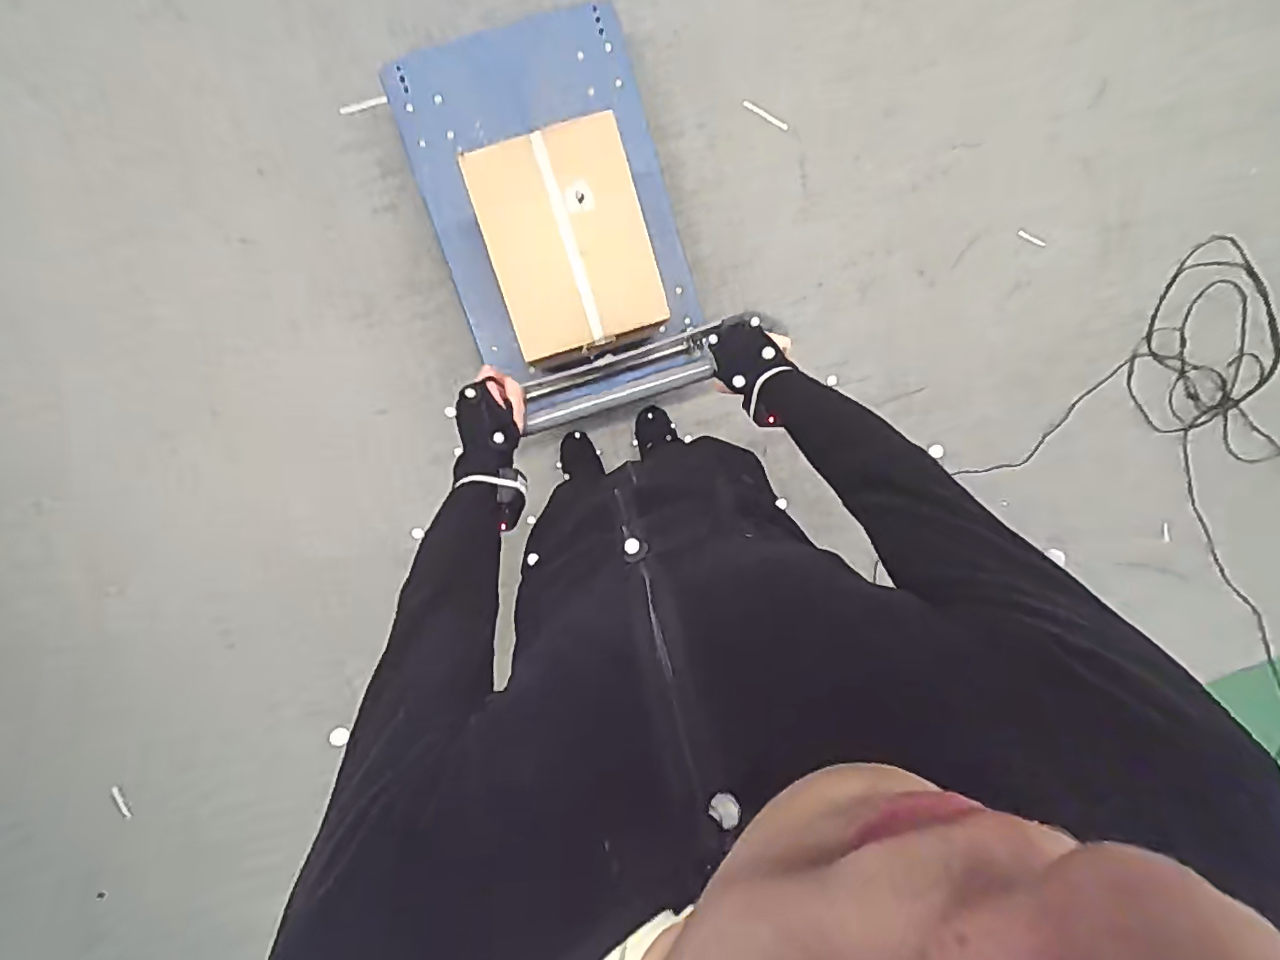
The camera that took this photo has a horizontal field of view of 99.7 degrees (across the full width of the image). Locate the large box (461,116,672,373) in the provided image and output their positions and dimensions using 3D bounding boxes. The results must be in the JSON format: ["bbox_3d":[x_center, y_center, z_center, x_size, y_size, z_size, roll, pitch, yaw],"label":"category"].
[{"bbox_3d":[-0.146,-0.485,1.208,0.320,0.320,0.408,-18,98,-2],"label":"large box"}]
